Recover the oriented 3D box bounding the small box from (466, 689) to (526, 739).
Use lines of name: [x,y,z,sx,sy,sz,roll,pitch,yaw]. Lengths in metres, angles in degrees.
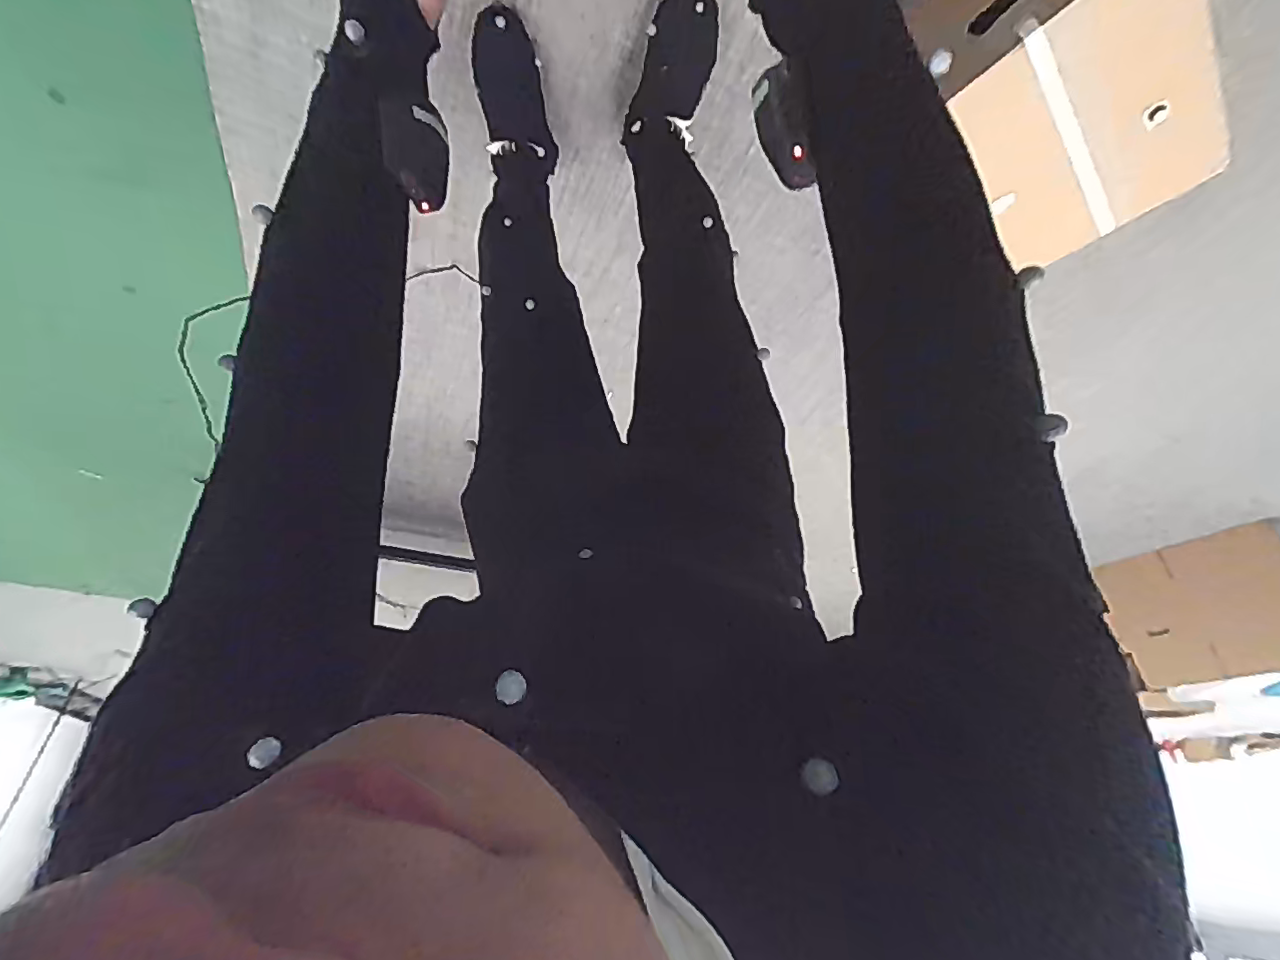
small box: [-0.575,0.932,2.149,0.168,0.176,0.179,-12,146,20]
